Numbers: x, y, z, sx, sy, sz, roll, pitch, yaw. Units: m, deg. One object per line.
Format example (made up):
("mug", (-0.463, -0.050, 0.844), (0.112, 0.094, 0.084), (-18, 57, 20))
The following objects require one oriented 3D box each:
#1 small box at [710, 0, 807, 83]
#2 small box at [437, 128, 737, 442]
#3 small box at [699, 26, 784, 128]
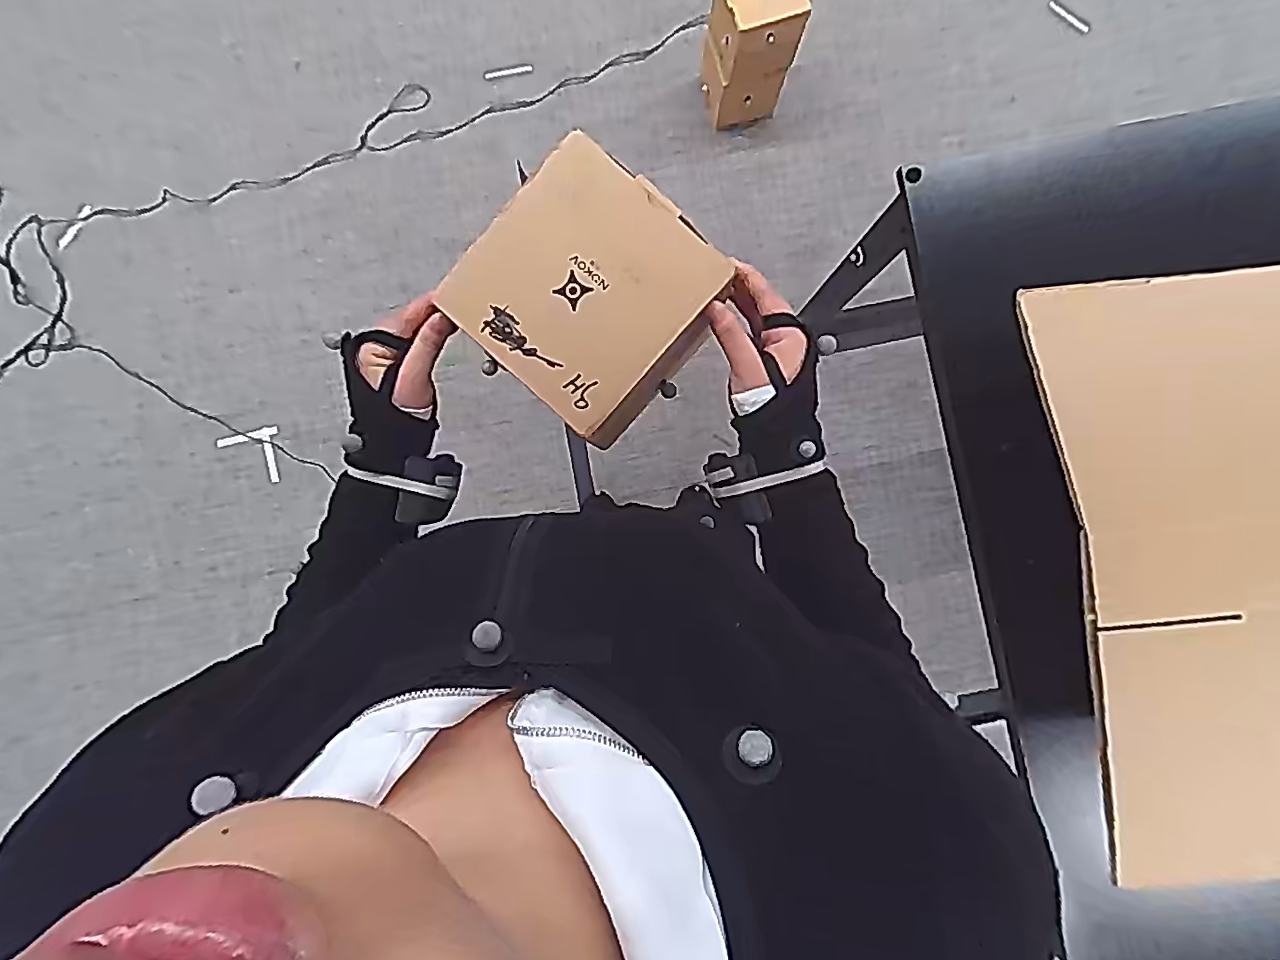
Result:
("small box", (0.275, -1.111, 1.306), (0.179, 0.176, 0.168), (-17, 89, -1))
("small box", (-0.041, -0.154, 0.492), (0.168, 0.176, 0.179), (42, 90, 2))
("small box", (0.269, -1.103, 1.468), (0.179, 0.176, 0.168), (-15, 88, 0))
